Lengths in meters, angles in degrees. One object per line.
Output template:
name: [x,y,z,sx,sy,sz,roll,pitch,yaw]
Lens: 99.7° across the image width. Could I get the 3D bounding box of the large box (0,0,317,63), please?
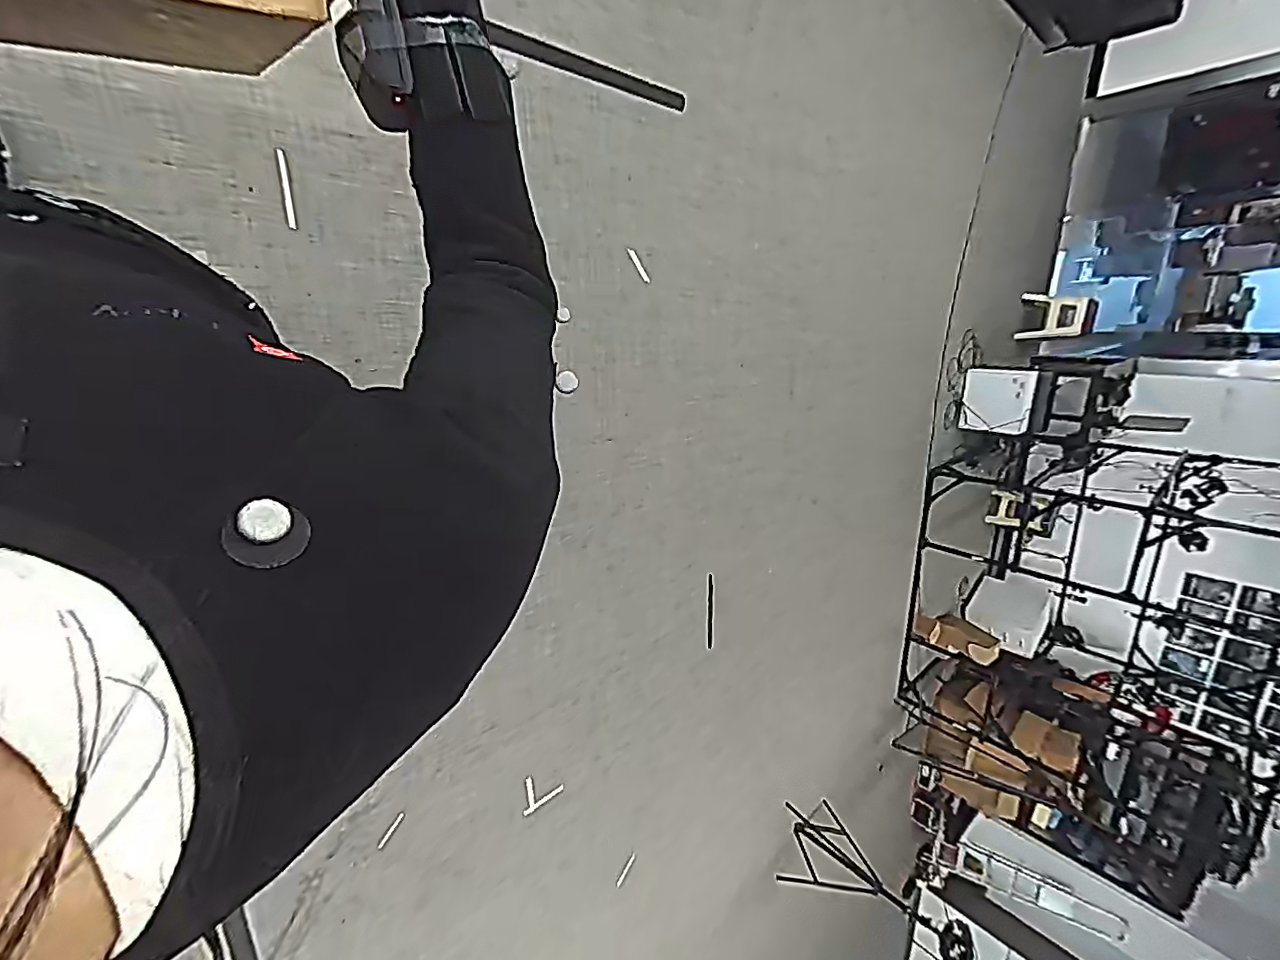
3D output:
large box: [-0.437,-0.417,0.242,0.408,0.320,0.320,-20,128,-34]
